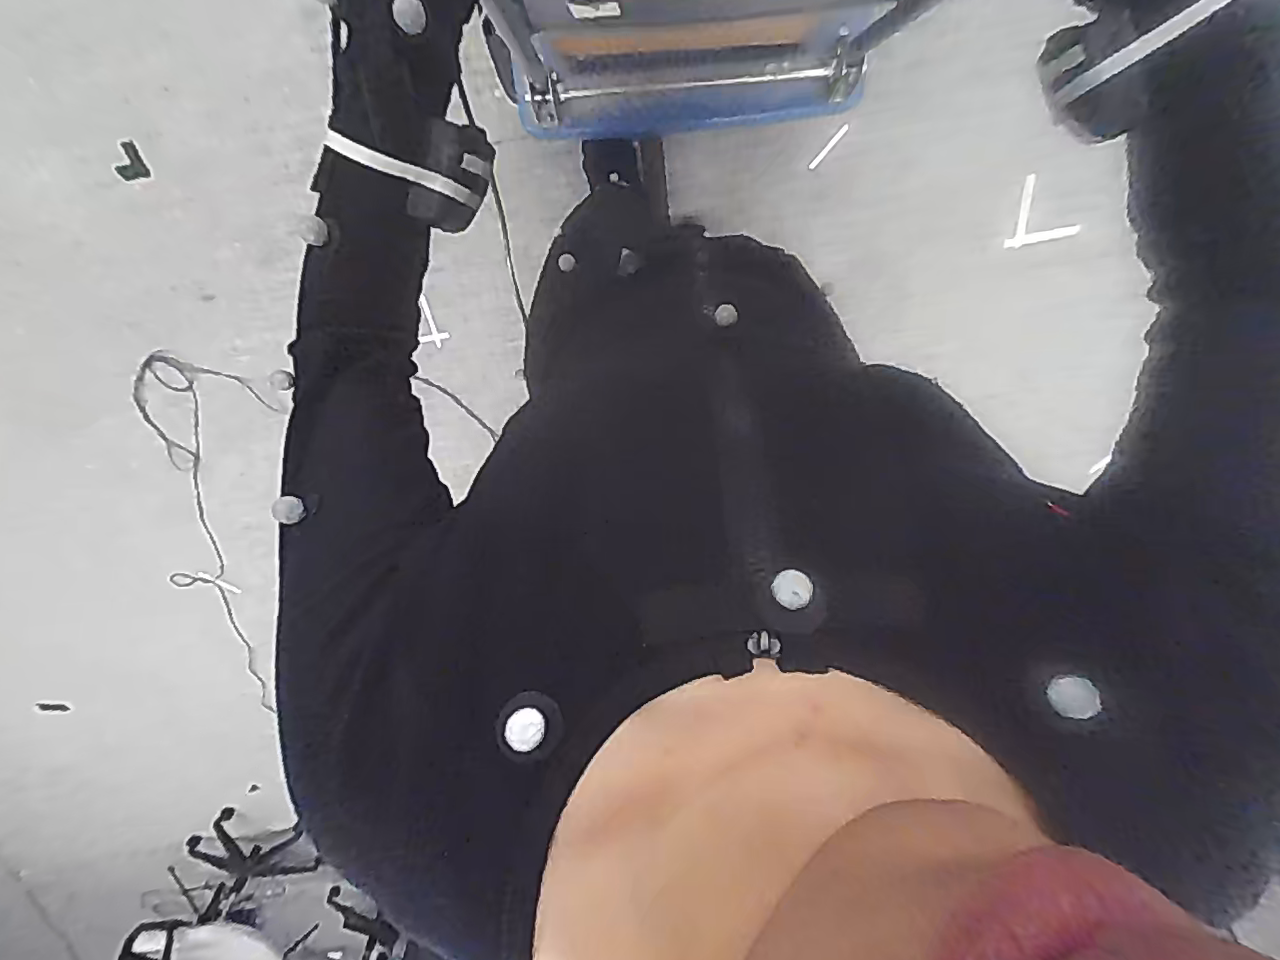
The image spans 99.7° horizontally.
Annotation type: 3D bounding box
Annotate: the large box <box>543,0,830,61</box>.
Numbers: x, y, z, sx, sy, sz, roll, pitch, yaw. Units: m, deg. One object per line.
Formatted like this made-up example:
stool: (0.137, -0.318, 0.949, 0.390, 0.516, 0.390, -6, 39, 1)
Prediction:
large box: (0.057, -0.782, 0.688, 0.408, 0.320, 0.320, -5, 114, -1)
